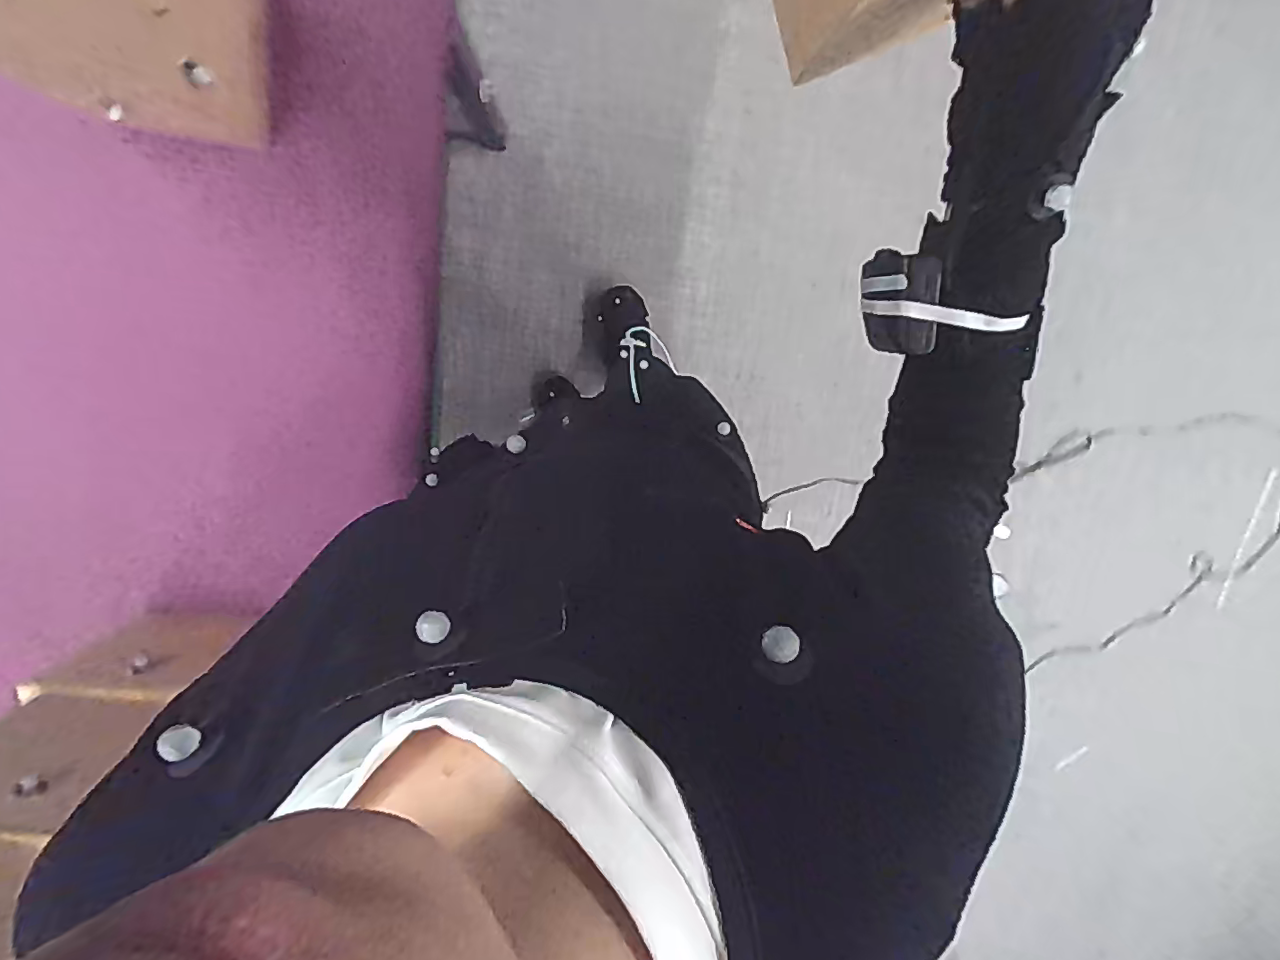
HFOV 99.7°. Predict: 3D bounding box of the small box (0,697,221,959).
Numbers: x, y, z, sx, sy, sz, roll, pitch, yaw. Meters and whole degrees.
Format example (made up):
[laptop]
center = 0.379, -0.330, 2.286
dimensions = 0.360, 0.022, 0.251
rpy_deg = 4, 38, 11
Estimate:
[small box]
center = -0.561, 0.342, 0.542
dimensions = 0.179, 0.176, 0.168
rpy_deg = 9, 103, -8
